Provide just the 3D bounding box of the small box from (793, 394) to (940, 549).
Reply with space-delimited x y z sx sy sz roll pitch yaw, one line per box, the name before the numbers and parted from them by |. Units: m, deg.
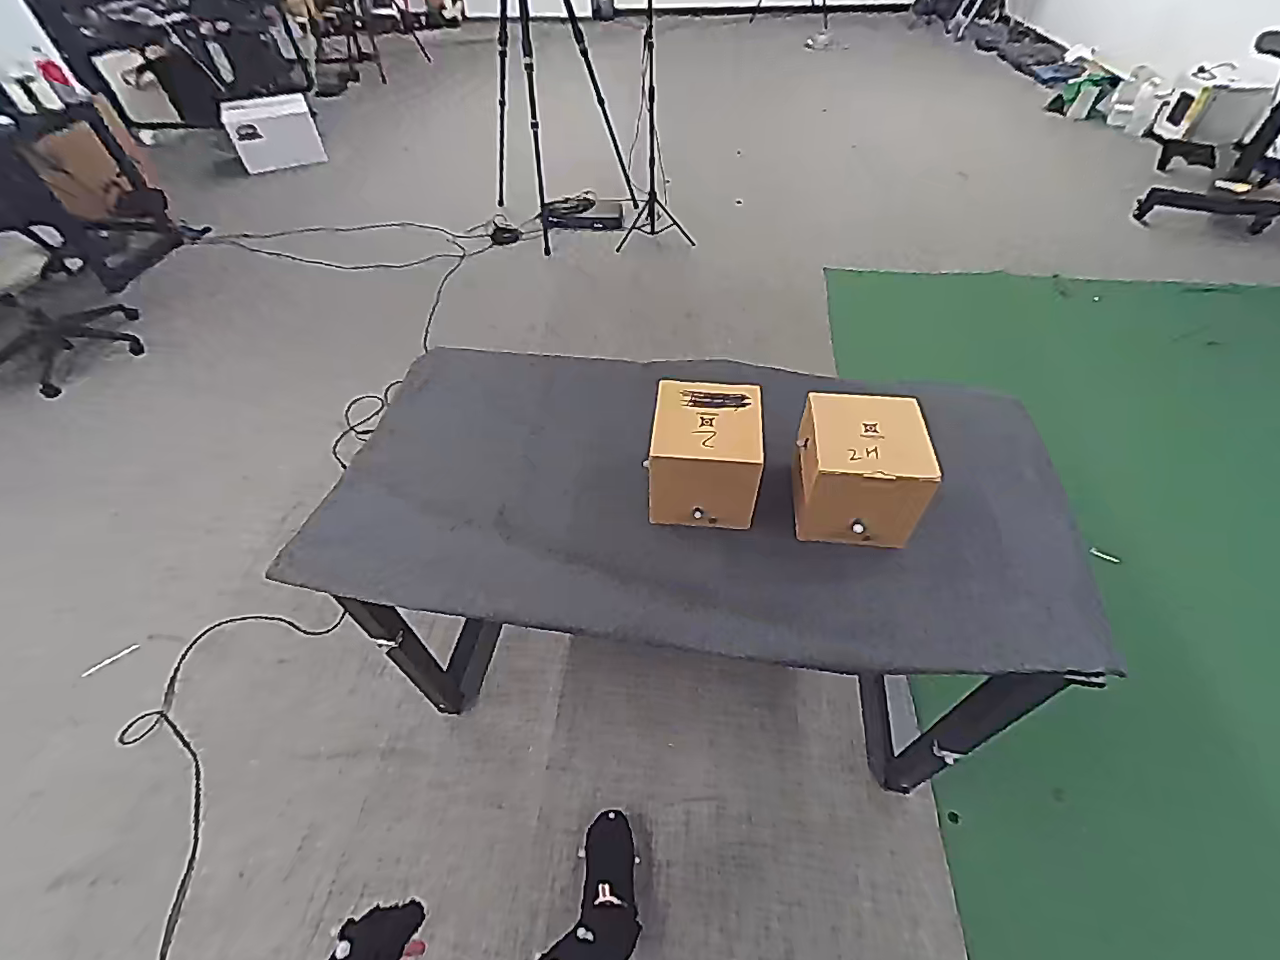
small box | 0.345 -0.014 0.863 0.168 0.176 0.179 4 49 7
